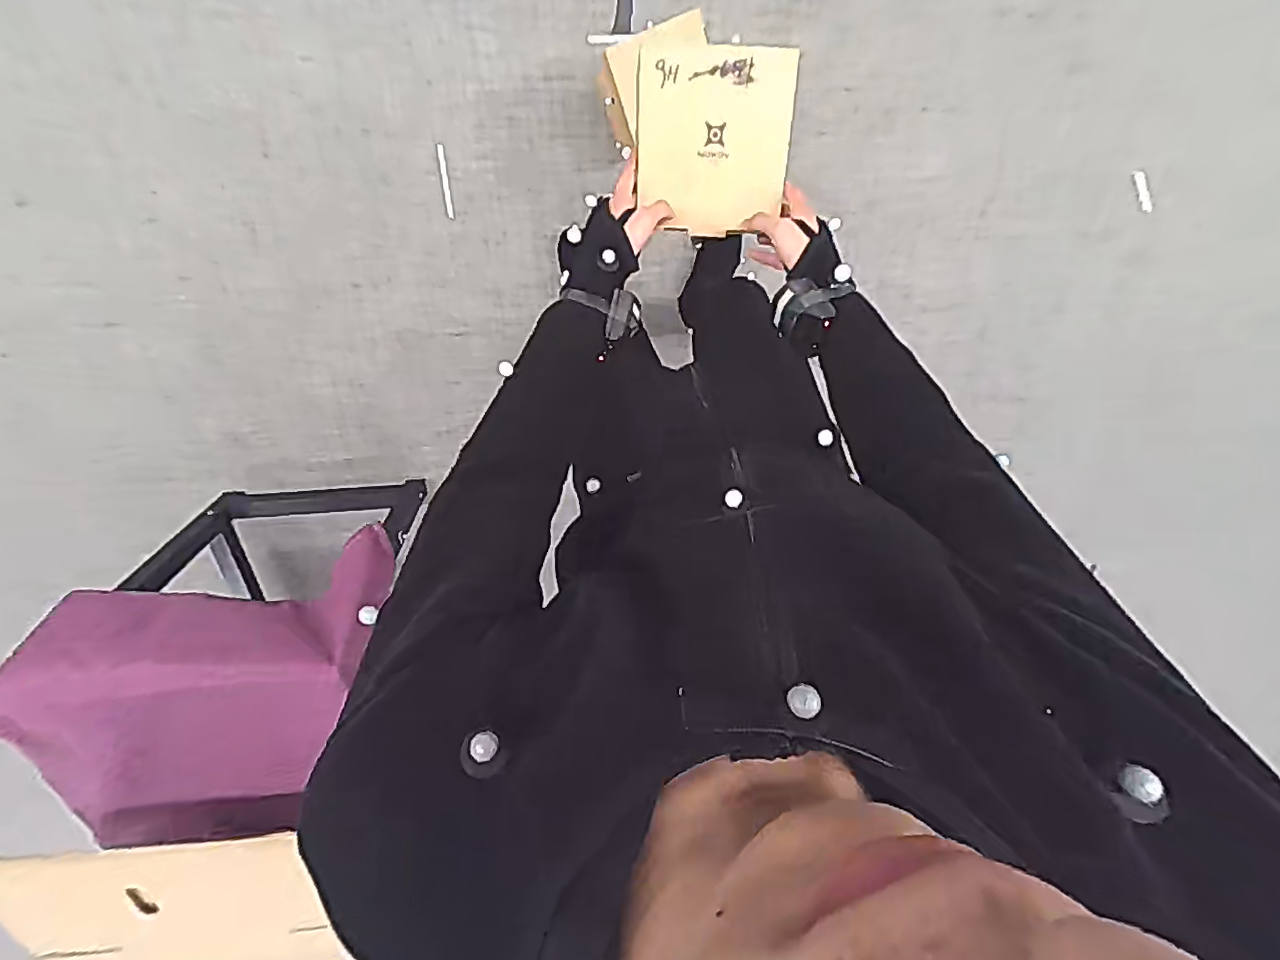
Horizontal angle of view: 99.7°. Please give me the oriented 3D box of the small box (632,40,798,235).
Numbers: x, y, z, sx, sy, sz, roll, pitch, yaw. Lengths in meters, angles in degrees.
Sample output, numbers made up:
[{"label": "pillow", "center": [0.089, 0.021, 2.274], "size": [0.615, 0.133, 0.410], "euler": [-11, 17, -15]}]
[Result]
[{"label": "small box", "center": [0.076, -0.401, 0.658], "size": [0.168, 0.176, 0.179], "euler": [1, 116, -3]}]
